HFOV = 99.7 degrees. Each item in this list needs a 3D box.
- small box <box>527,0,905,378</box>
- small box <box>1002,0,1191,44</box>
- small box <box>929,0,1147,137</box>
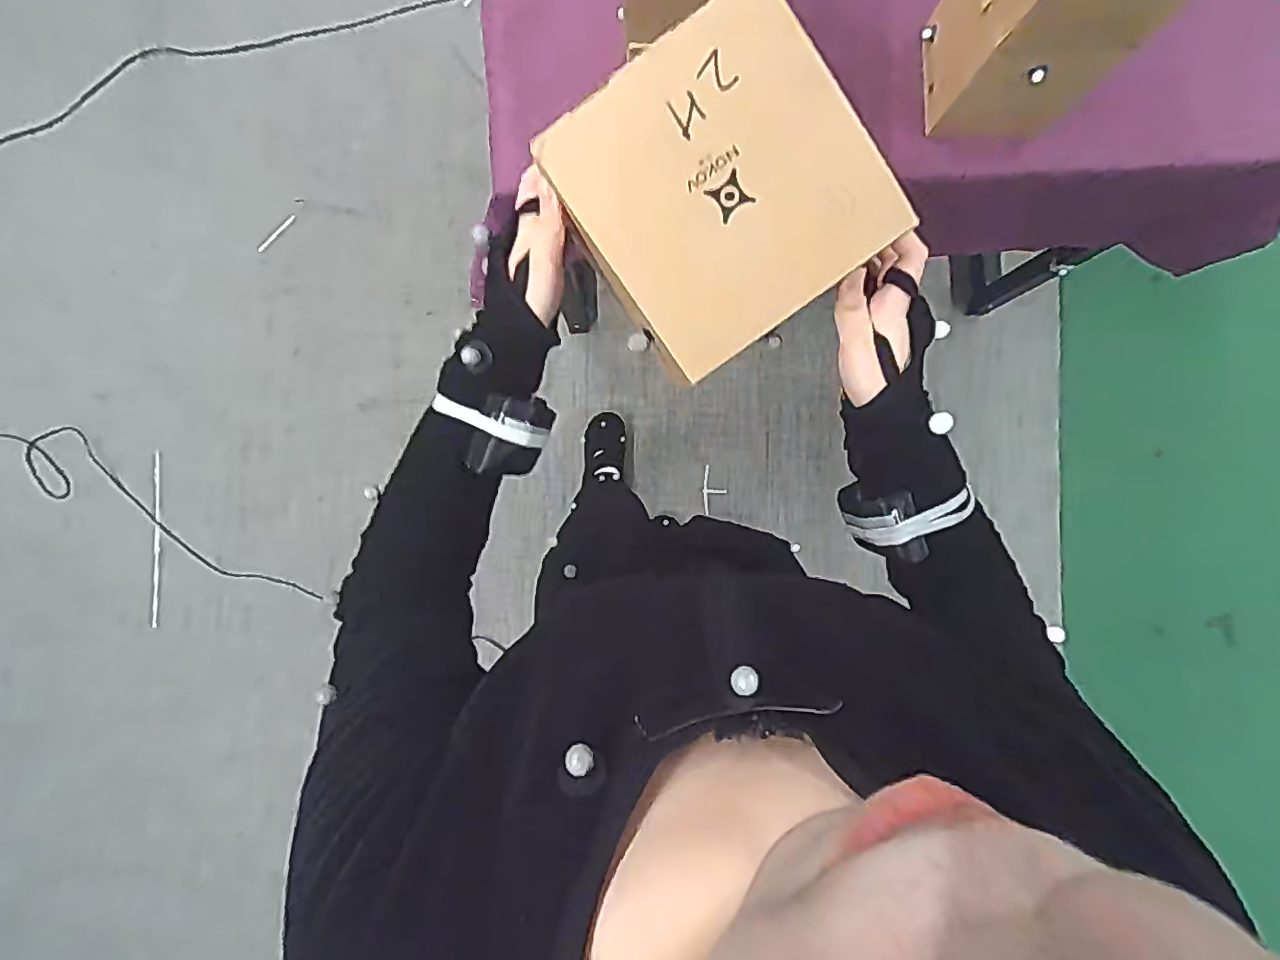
[{"bbox_3d":[0.049,-0.191,0.400,0.168,0.176,0.179,-33,95,6],"label":"small box"},{"bbox_3d":[0.509,-0.590,0.552,0.179,0.176,0.168,-1,89,1],"label":"small box"},{"bbox_3d":[0.505,-0.585,0.714,0.179,0.176,0.168,-1,88,-1],"label":"small box"}]
